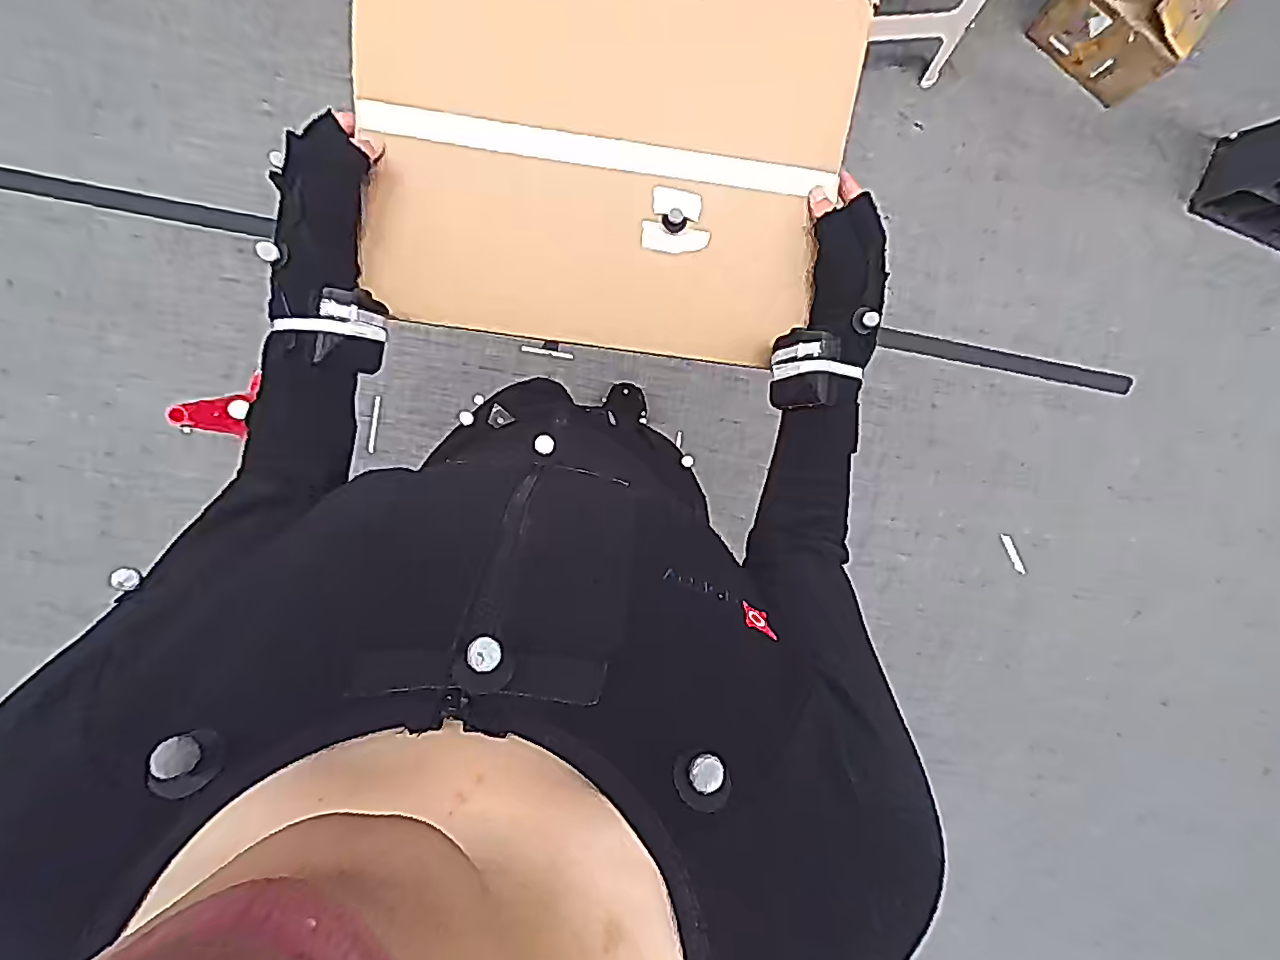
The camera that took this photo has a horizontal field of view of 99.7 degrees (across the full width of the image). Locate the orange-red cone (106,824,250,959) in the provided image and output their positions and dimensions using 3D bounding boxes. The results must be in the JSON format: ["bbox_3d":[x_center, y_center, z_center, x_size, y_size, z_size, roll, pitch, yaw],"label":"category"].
[{"bbox_3d":[-1.209,1.103,1.371,0.198,0.360,0.199,8,98,-3],"label":"orange-red cone"}]

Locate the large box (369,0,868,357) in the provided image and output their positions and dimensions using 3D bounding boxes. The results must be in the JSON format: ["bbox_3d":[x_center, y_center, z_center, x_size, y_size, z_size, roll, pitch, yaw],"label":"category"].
[{"bbox_3d":[-0.035,-0.318,0.604,0.408,0.320,0.320,6,105,-5],"label":"large box"}]
